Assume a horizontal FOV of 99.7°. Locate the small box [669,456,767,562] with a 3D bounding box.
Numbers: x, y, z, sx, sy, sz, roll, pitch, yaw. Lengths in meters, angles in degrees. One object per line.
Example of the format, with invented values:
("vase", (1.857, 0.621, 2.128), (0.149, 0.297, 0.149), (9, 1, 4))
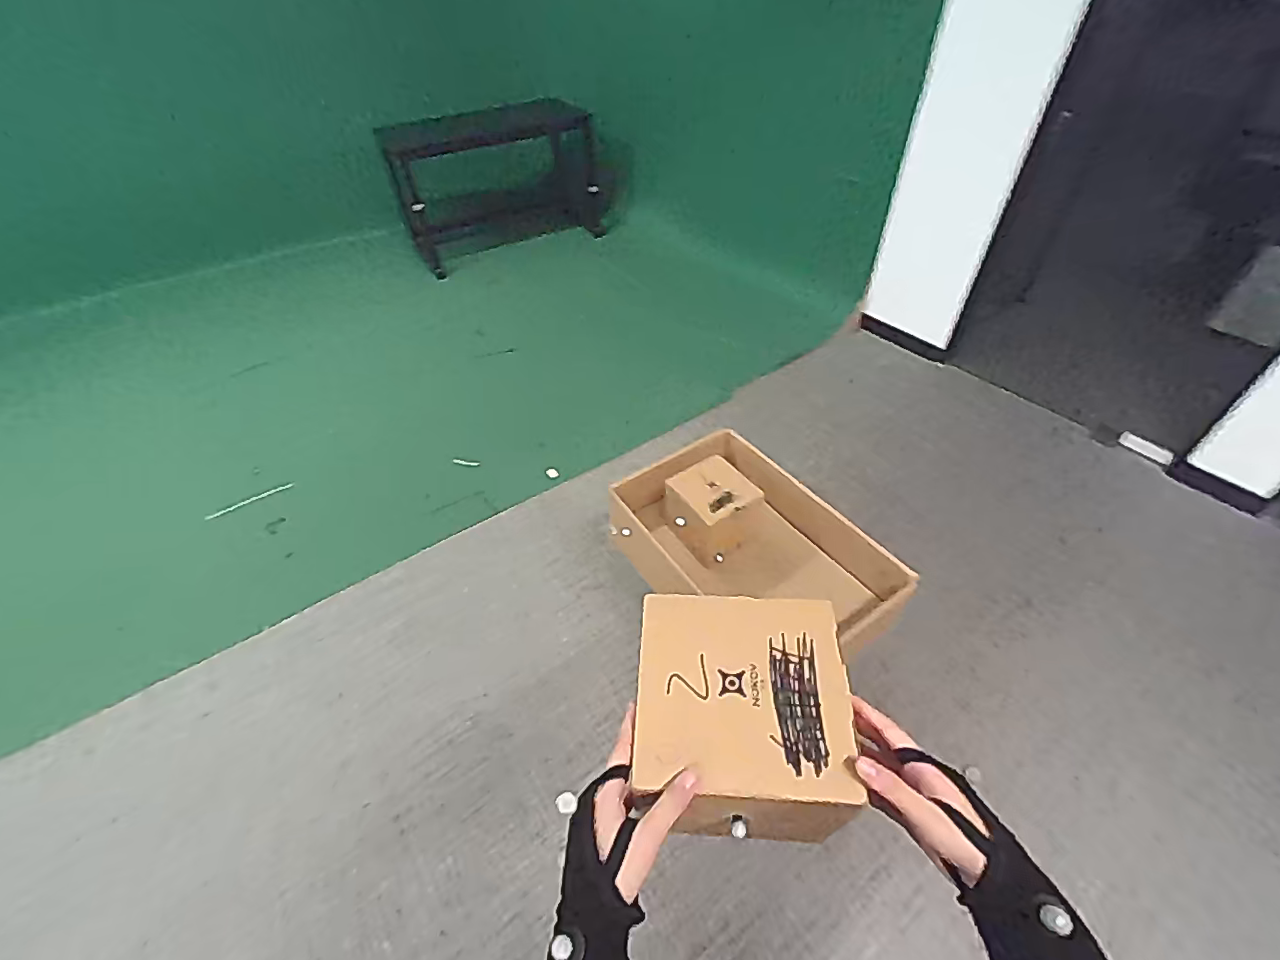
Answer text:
("small box", (0.187, 0.078, 1.331), (0.168, 0.176, 0.179), (-26, 49, -20))
